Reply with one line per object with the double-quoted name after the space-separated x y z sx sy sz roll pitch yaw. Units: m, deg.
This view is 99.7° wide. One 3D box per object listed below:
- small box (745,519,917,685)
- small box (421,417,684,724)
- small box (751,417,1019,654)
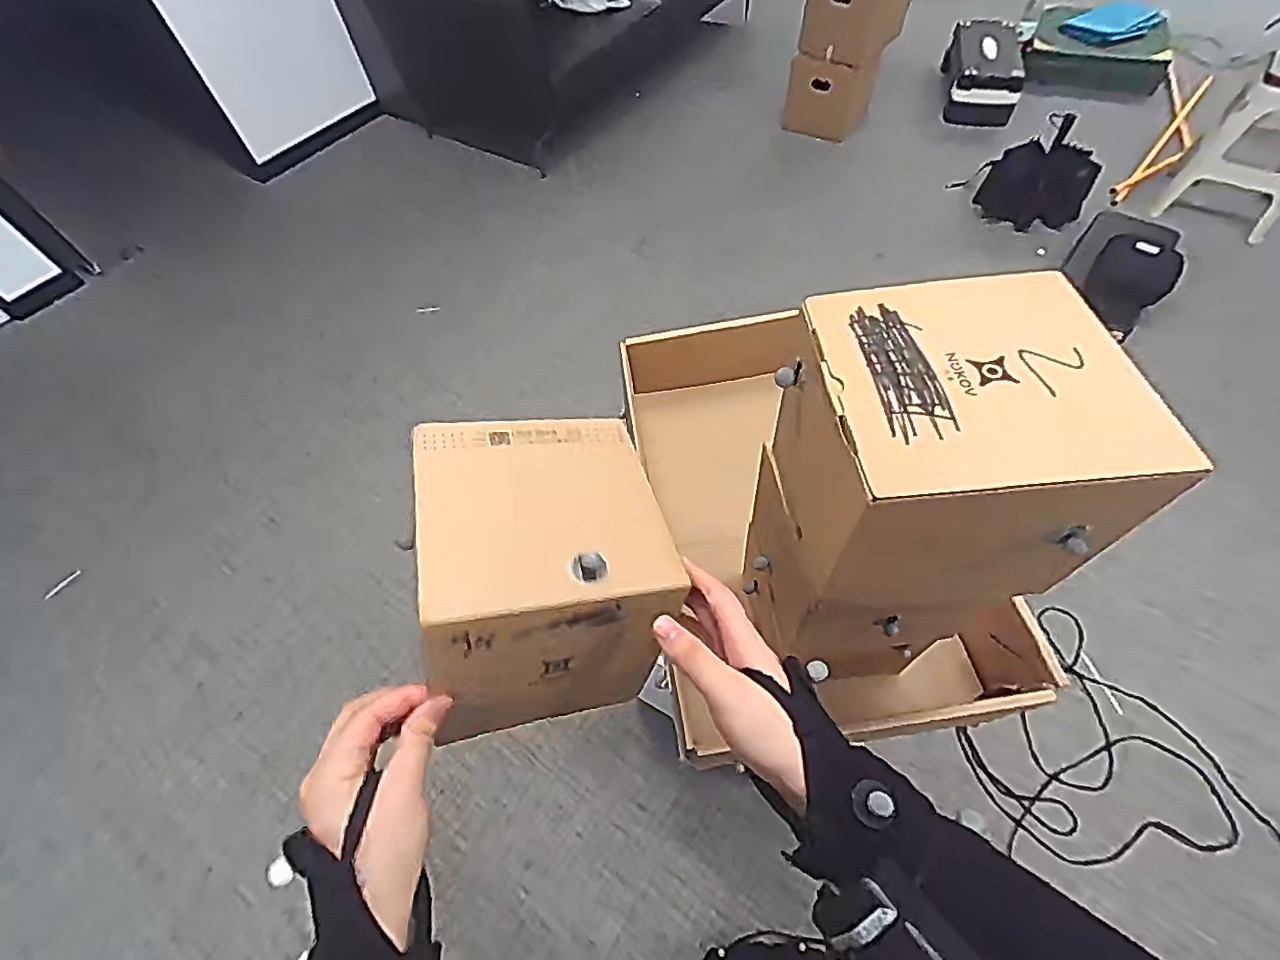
0.233 0.148 0.682 0.179 0.176 0.168 -8 55 1 "small box"
-0.085 0.068 0.441 0.168 0.179 0.176 -4 45 -20 "small box"
0.219 0.062 0.543 0.179 0.176 0.168 -9 55 2 "small box"
